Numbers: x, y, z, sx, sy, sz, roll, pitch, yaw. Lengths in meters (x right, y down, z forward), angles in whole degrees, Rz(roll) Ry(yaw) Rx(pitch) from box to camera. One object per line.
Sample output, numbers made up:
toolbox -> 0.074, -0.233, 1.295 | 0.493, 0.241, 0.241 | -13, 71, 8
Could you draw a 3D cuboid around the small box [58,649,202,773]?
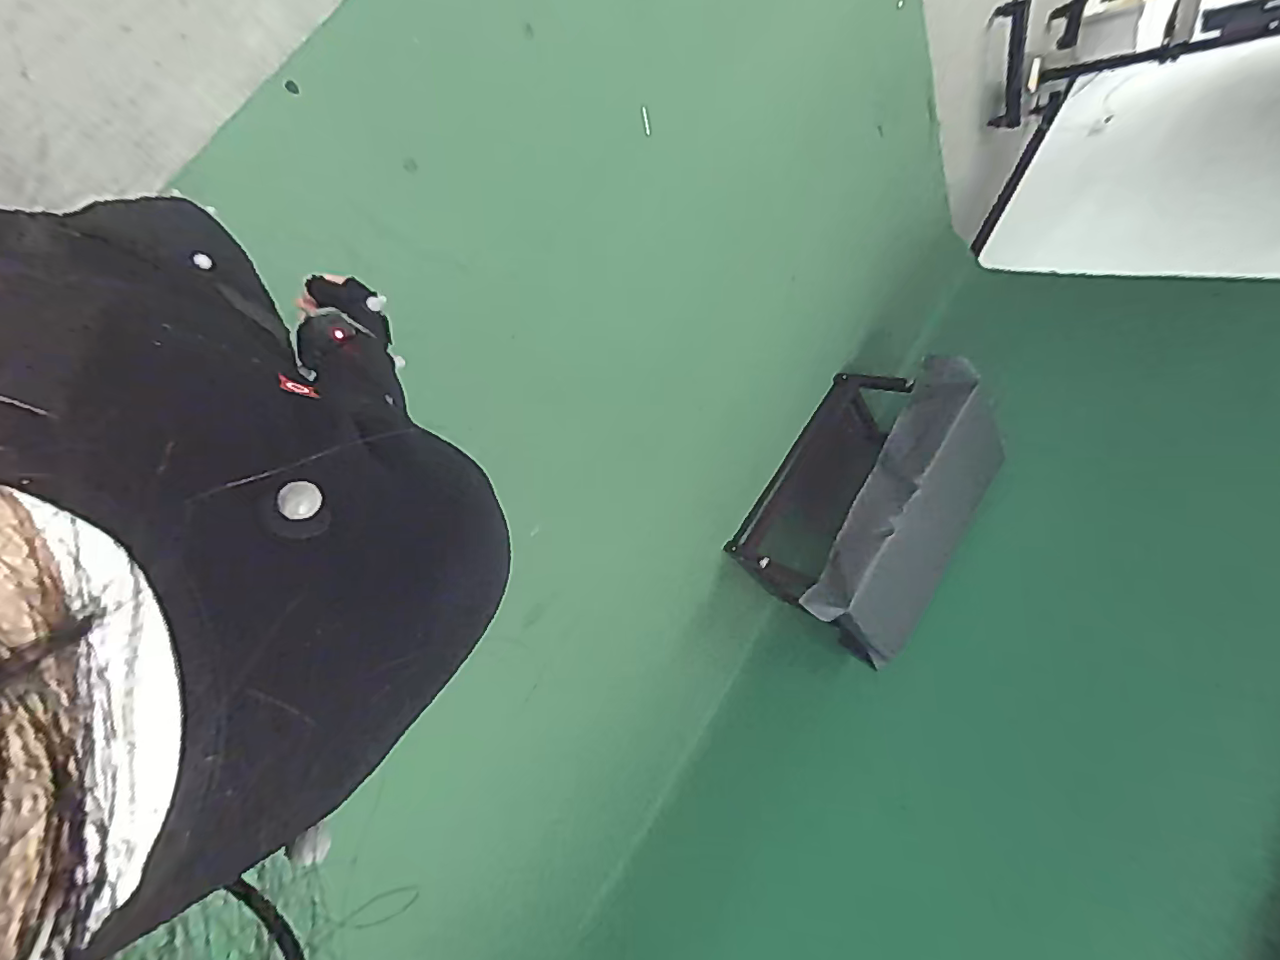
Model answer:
small box -> -1.127, 0.512, 1.205 | 0.179, 0.176, 0.168 | -56, 137, -11
